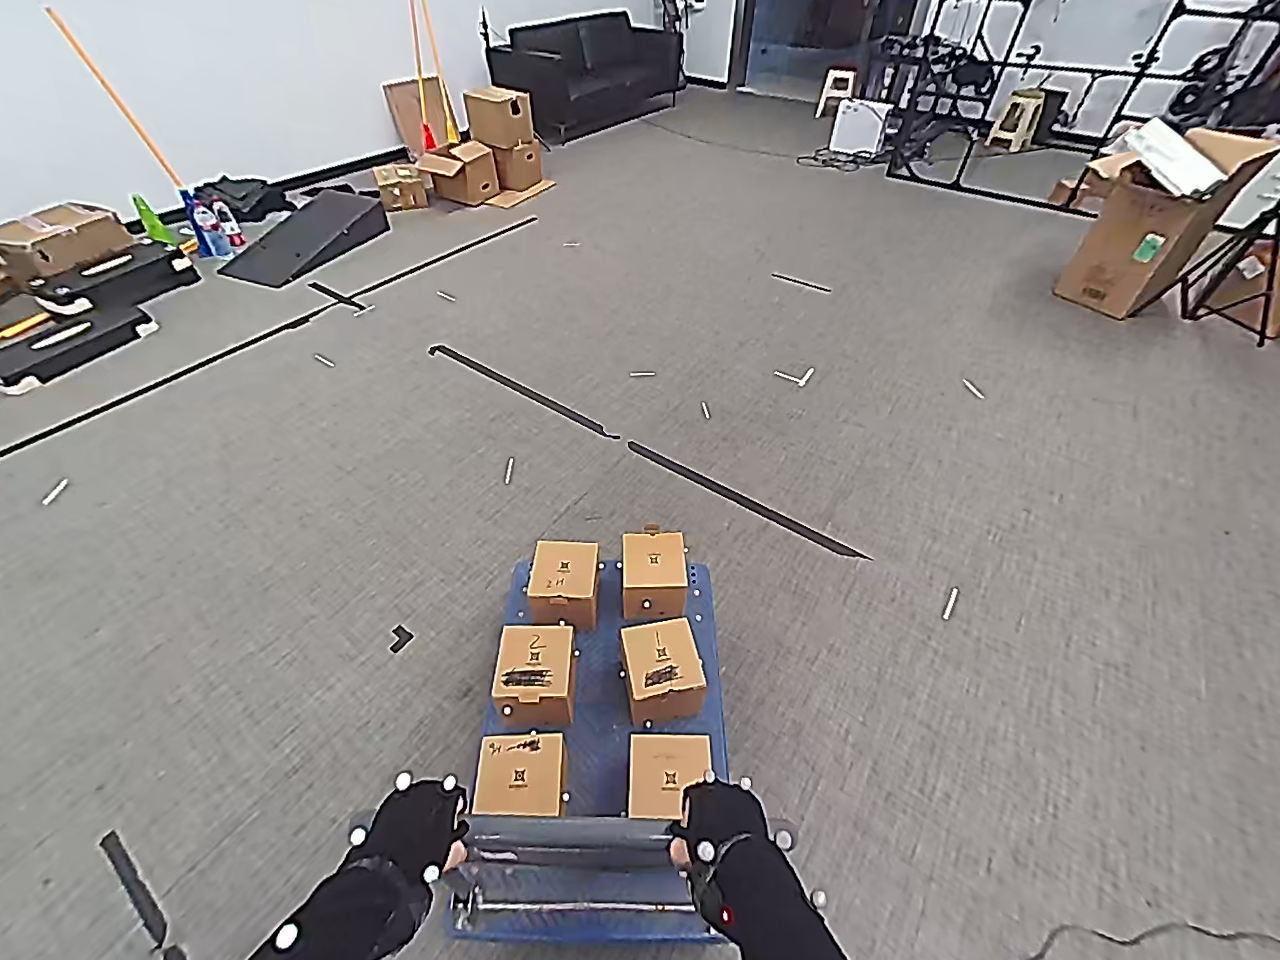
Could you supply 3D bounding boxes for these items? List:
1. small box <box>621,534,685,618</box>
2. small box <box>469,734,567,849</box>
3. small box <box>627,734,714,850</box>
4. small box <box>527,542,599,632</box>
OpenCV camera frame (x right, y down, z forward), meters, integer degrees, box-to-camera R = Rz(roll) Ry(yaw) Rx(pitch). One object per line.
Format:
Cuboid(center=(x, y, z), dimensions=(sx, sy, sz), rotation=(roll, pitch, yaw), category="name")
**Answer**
Cuboid(center=(0.033, 0.269, 1.490), dimensions=(0.168, 0.176, 0.179), rotation=(-1, 45, -2), category="small box")
Cuboid(center=(-0.240, 0.644, 1.112), dimensions=(0.168, 0.176, 0.179), rotation=(0, 46, -4), category="small box")
Cuboid(center=(0.058, 0.649, 1.121), dimensions=(0.168, 0.176, 0.179), rotation=(2, 45, -1), category="small box")
Cuboid(center=(-0.199, 0.289, 1.461), dimensions=(0.168, 0.176, 0.179), rotation=(2, 46, 1), category="small box")
